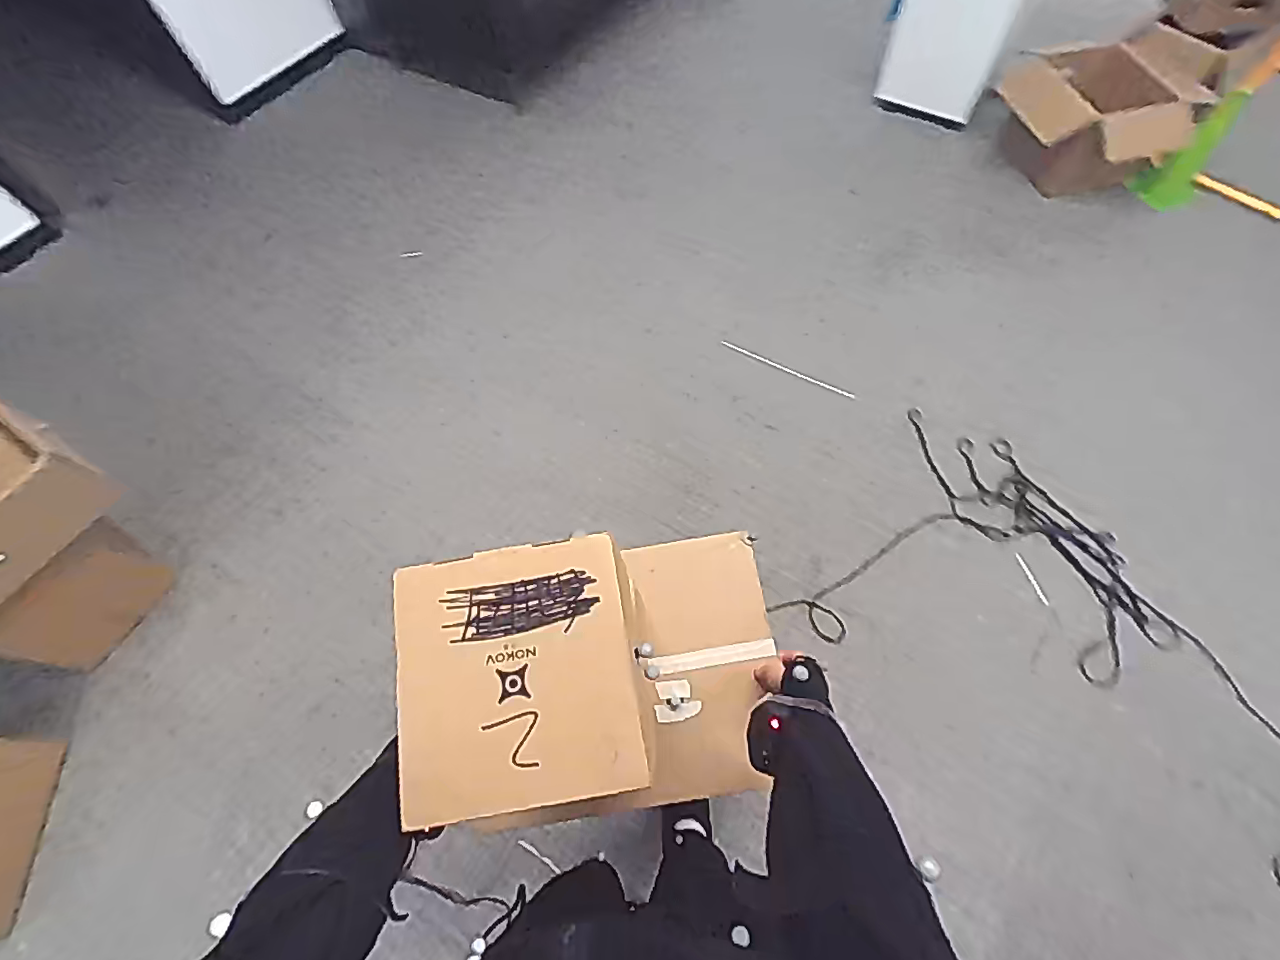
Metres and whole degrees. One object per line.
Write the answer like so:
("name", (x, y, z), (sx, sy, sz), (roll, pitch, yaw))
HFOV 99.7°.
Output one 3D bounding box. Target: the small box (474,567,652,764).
("small box", (-0.076, 0.205, 0.607), (0.168, 0.176, 0.179), (-6, 71, 1))
